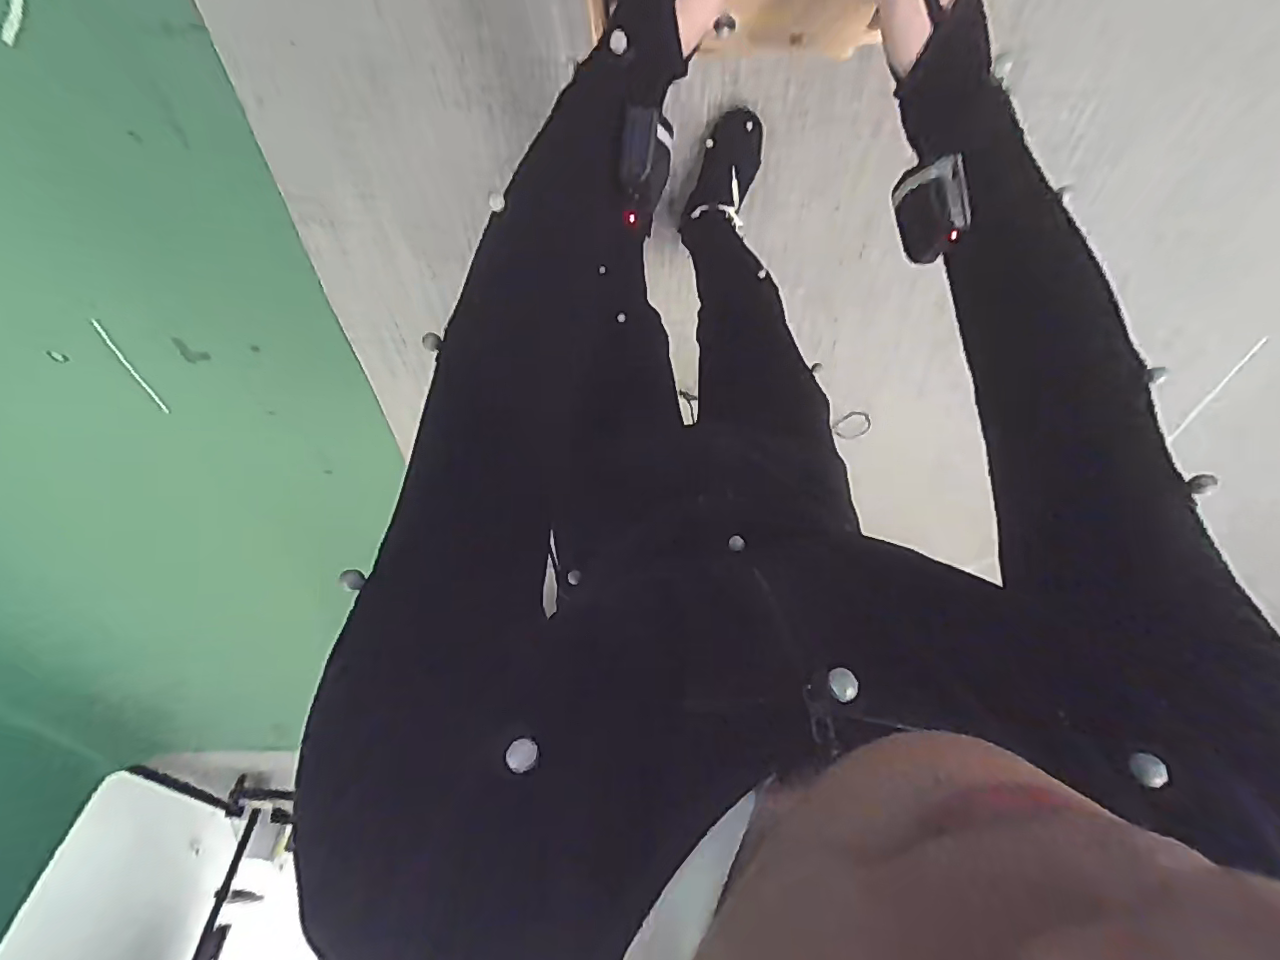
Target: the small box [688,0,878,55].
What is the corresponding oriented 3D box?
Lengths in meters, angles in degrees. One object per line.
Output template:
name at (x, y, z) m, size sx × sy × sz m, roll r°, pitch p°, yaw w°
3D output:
small box at (0.133, -0.498, 0.443) m, size 0.168 × 0.179 × 0.176 m, roll 3°, pitch 180°, yaw -3°
